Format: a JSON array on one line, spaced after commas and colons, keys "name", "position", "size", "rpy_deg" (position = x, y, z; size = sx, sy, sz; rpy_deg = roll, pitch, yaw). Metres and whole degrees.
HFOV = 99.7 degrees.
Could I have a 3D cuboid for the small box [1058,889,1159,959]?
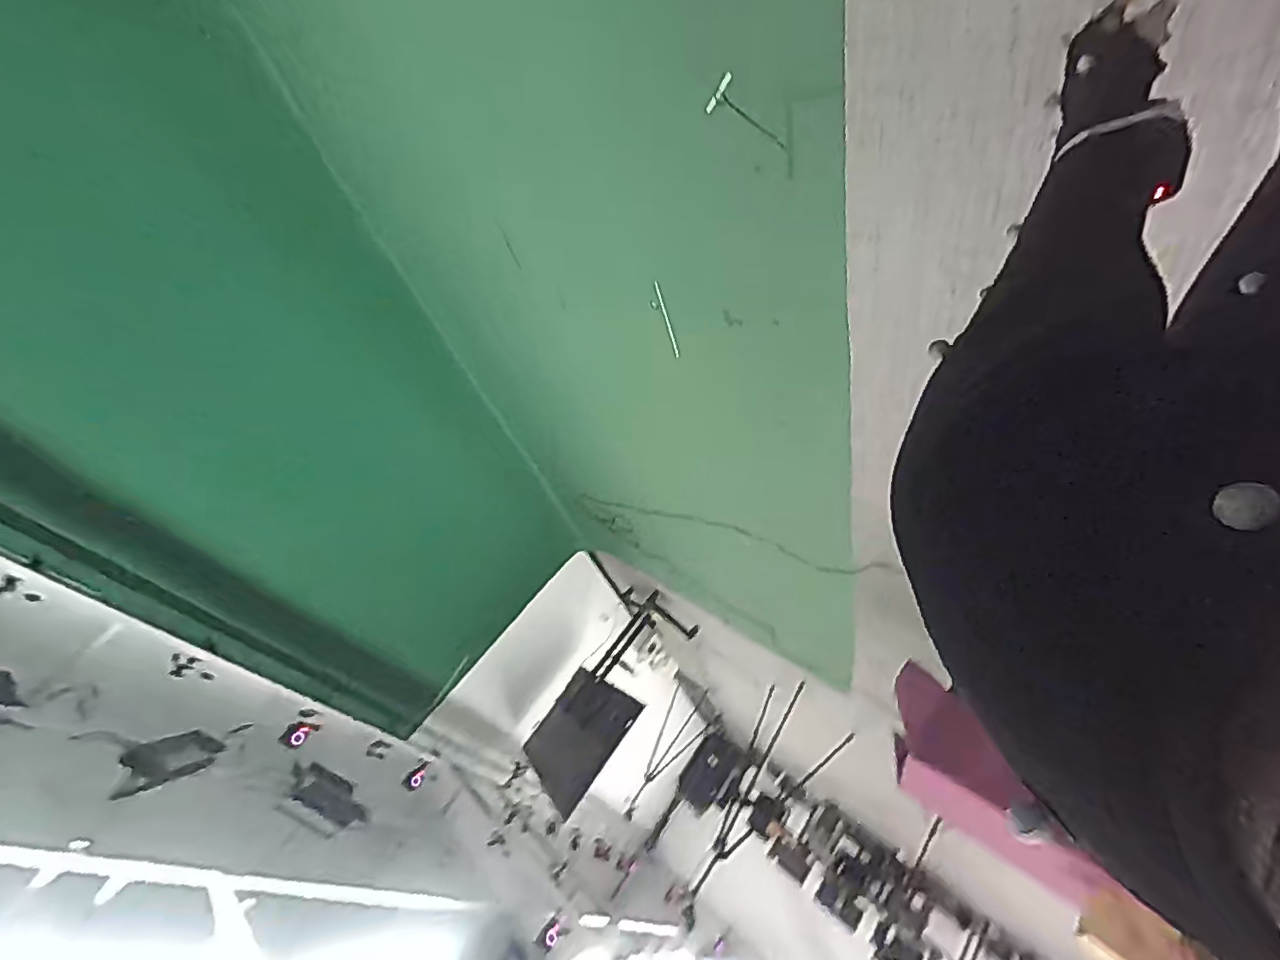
[{"name": "small box", "position": [1.415, 1.388, 1.635], "size": [0.179, 0.176, 0.168], "rpy_deg": [25, 153, 37]}]
